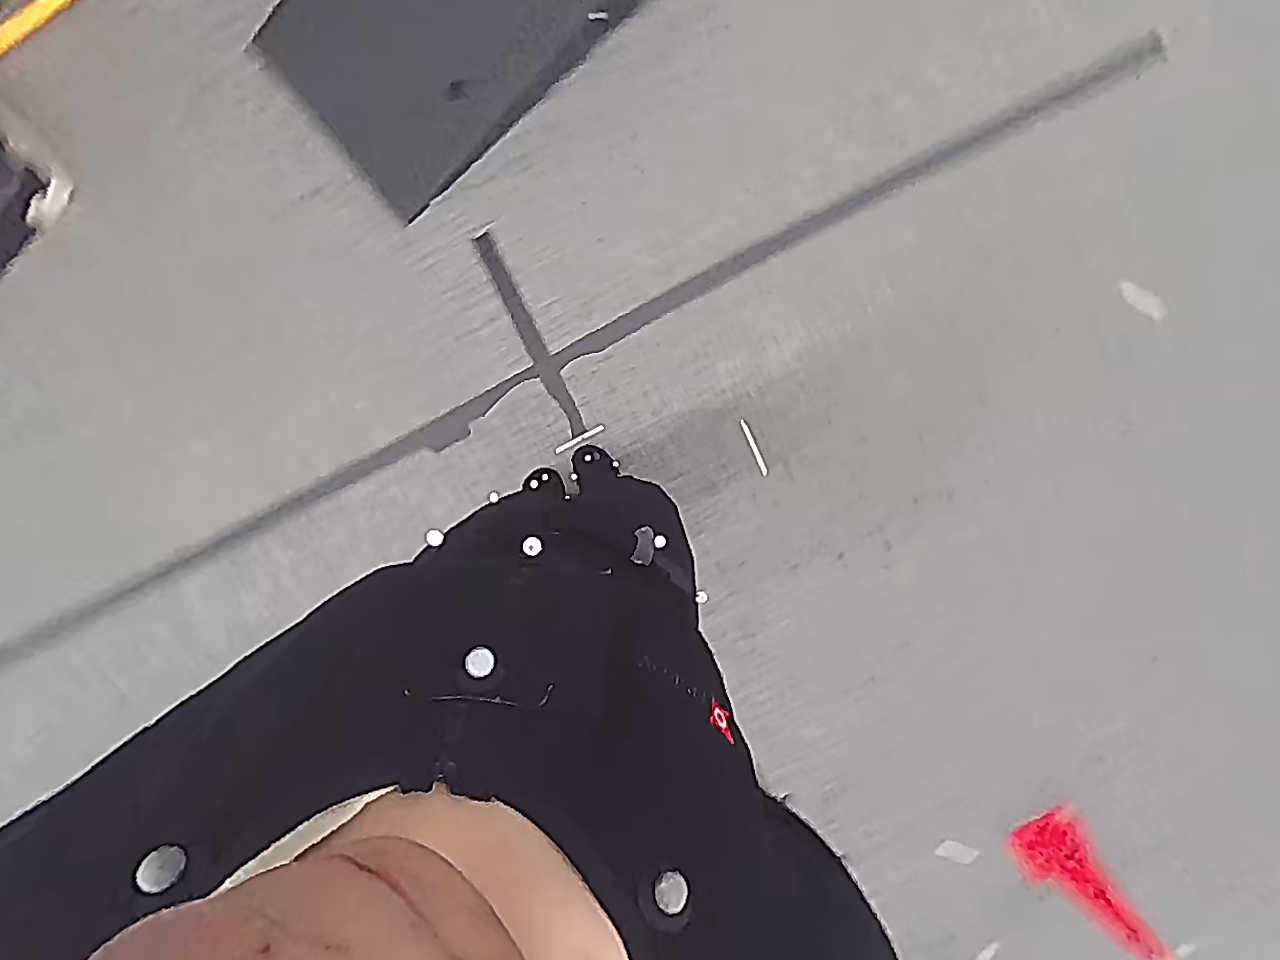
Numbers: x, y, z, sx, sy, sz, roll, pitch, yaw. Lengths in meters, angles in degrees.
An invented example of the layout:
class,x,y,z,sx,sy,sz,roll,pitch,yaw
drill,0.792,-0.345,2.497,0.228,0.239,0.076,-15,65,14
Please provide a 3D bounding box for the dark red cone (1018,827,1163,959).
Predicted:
class,x,y,z,sx,sy,sz,roll,pitch,yaw
dark red cone,1.191,1.118,1.371,0.201,0.394,0.202,-33,99,6
